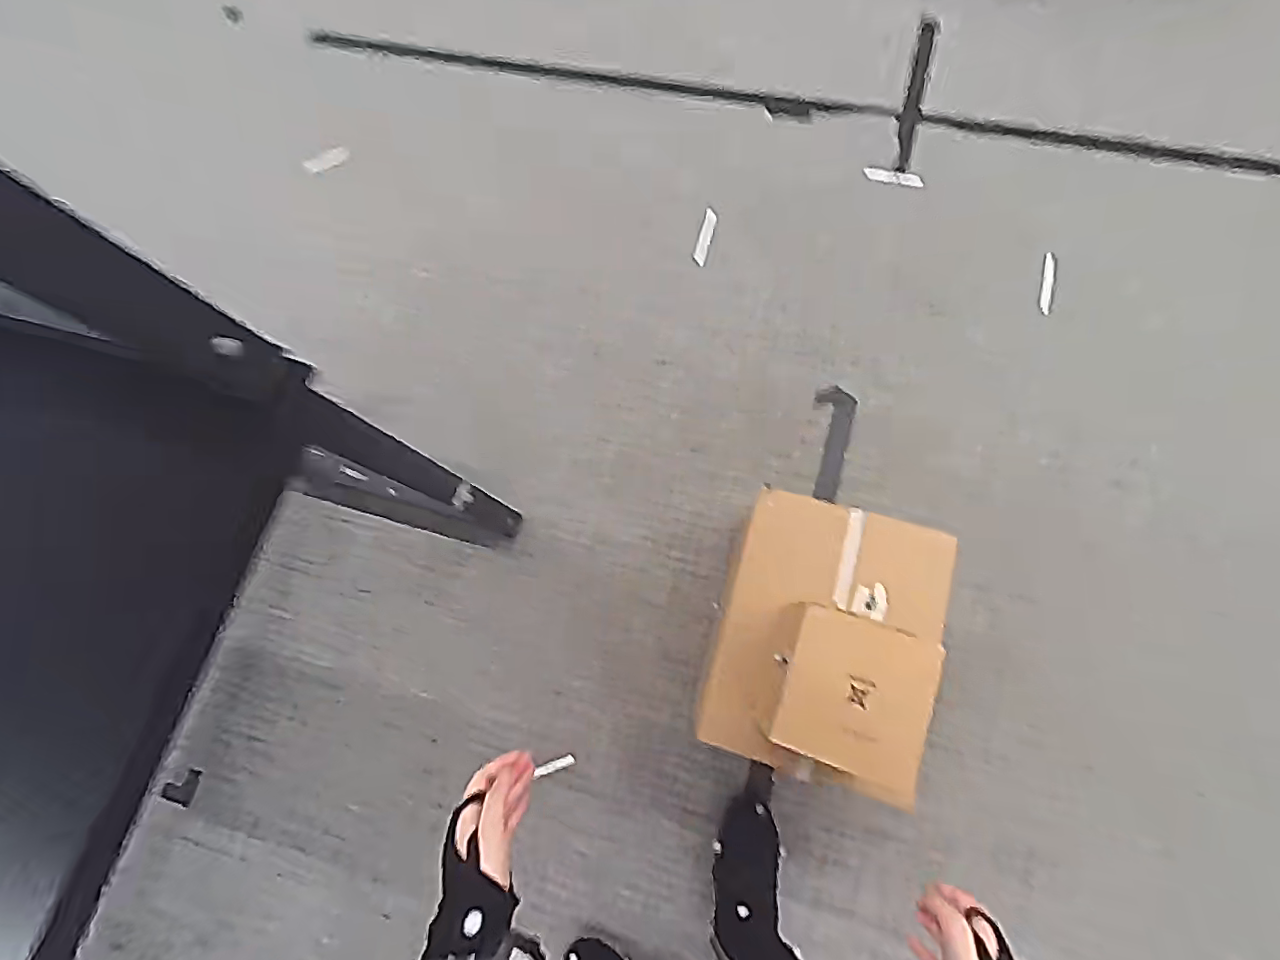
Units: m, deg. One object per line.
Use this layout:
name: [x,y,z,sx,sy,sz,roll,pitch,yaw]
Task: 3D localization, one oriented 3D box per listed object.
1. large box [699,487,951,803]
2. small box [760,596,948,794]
large box: [0.299,0.272,0.961,0.320,0.320,0.408,15,76,8]
small box: [0.266,0.267,0.710,0.168,0.176,0.179,19,78,10]
